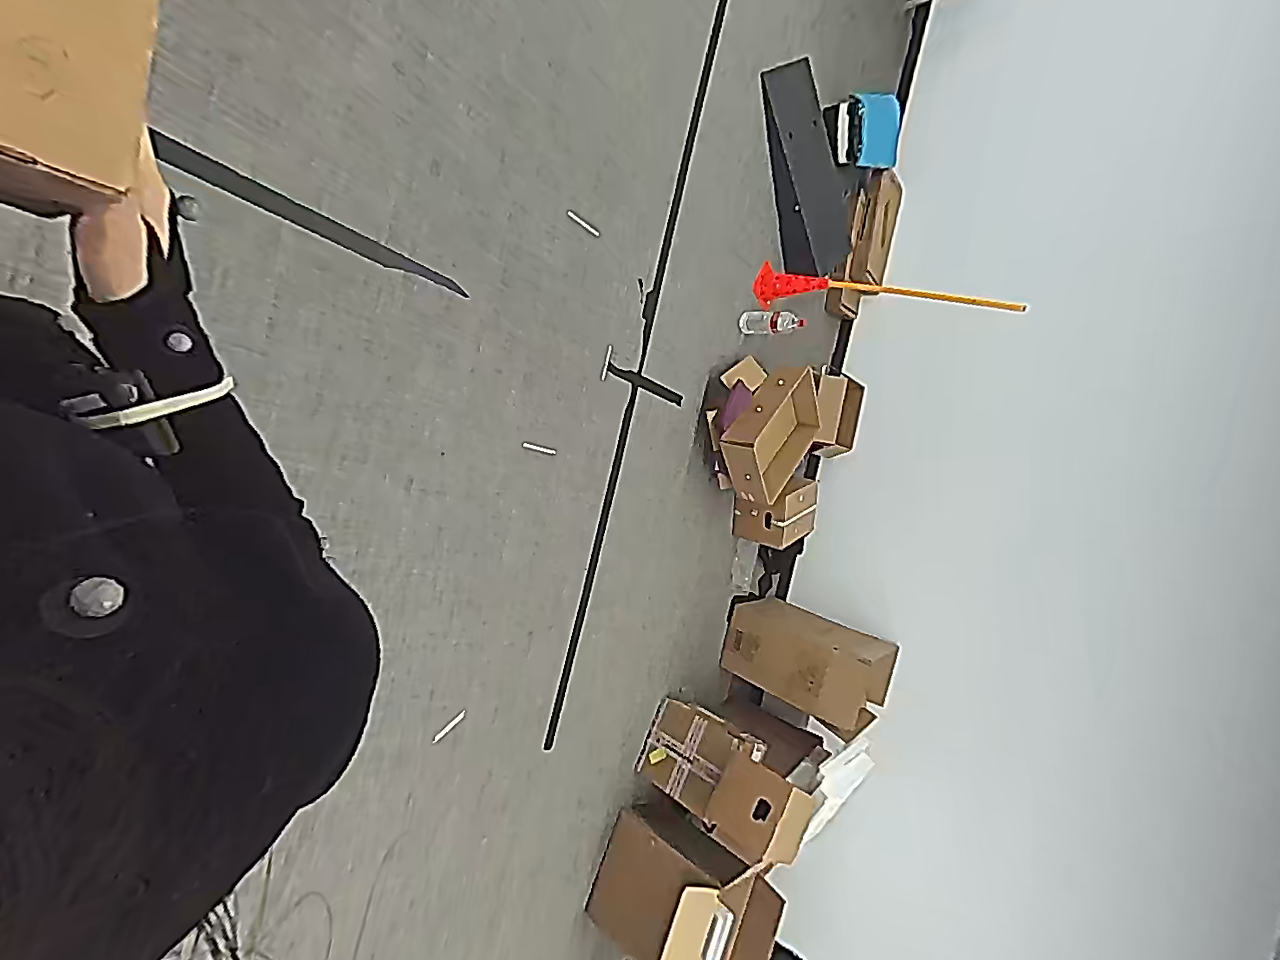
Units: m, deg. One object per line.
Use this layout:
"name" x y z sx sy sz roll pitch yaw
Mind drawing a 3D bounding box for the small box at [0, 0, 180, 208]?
"small box" -0.322 -0.234 0.223 0.168 0.176 0.179 6 98 -58
